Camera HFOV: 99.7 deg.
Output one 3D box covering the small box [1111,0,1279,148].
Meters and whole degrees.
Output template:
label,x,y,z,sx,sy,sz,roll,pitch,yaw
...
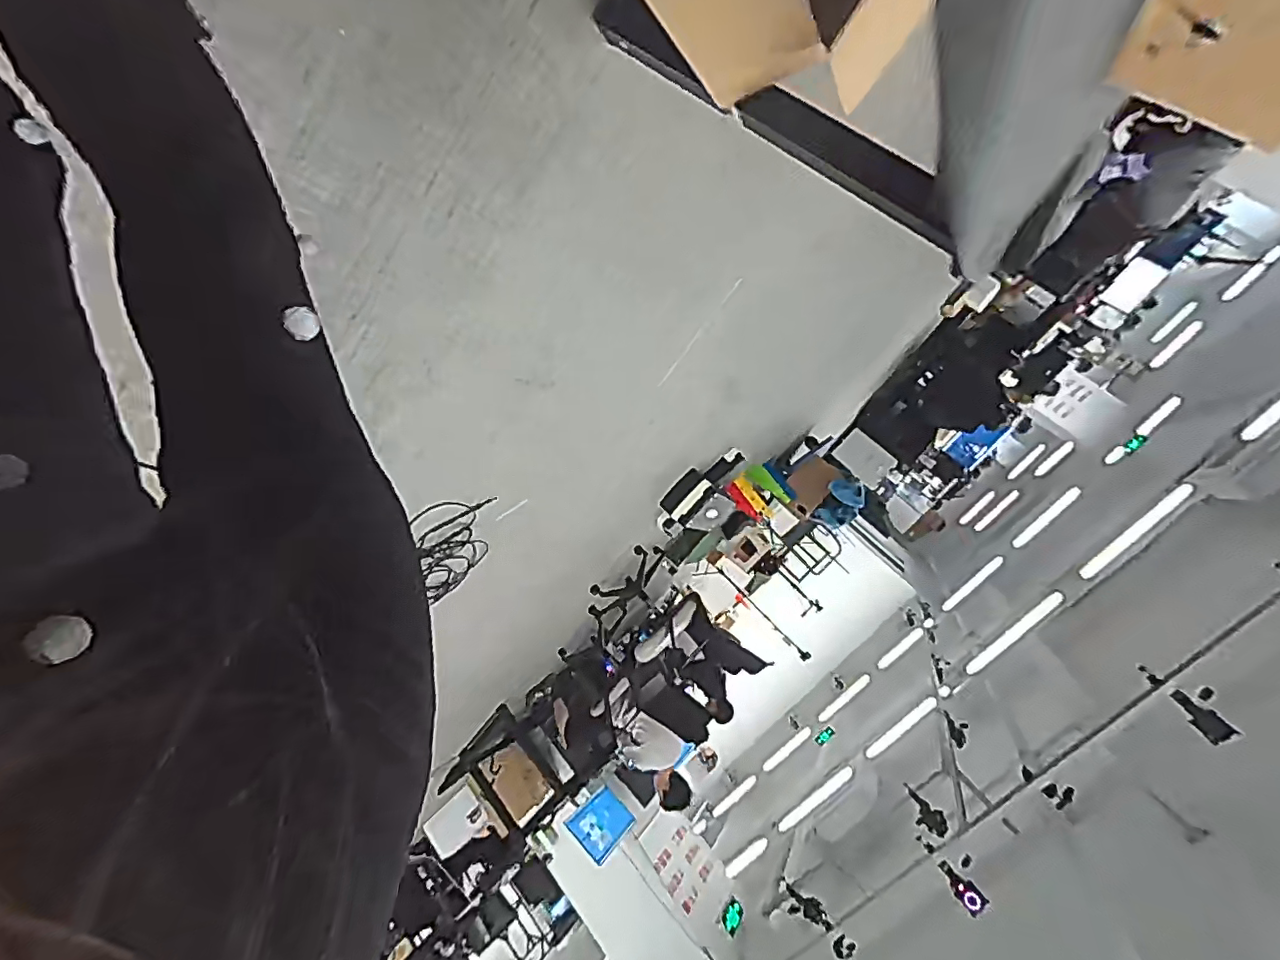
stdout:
label,x,y,z,sx,sy,sz,roll,pitch,yaw
small box,0.544,-0.422,0.425,0.179,0.176,0.168,-50,160,18
